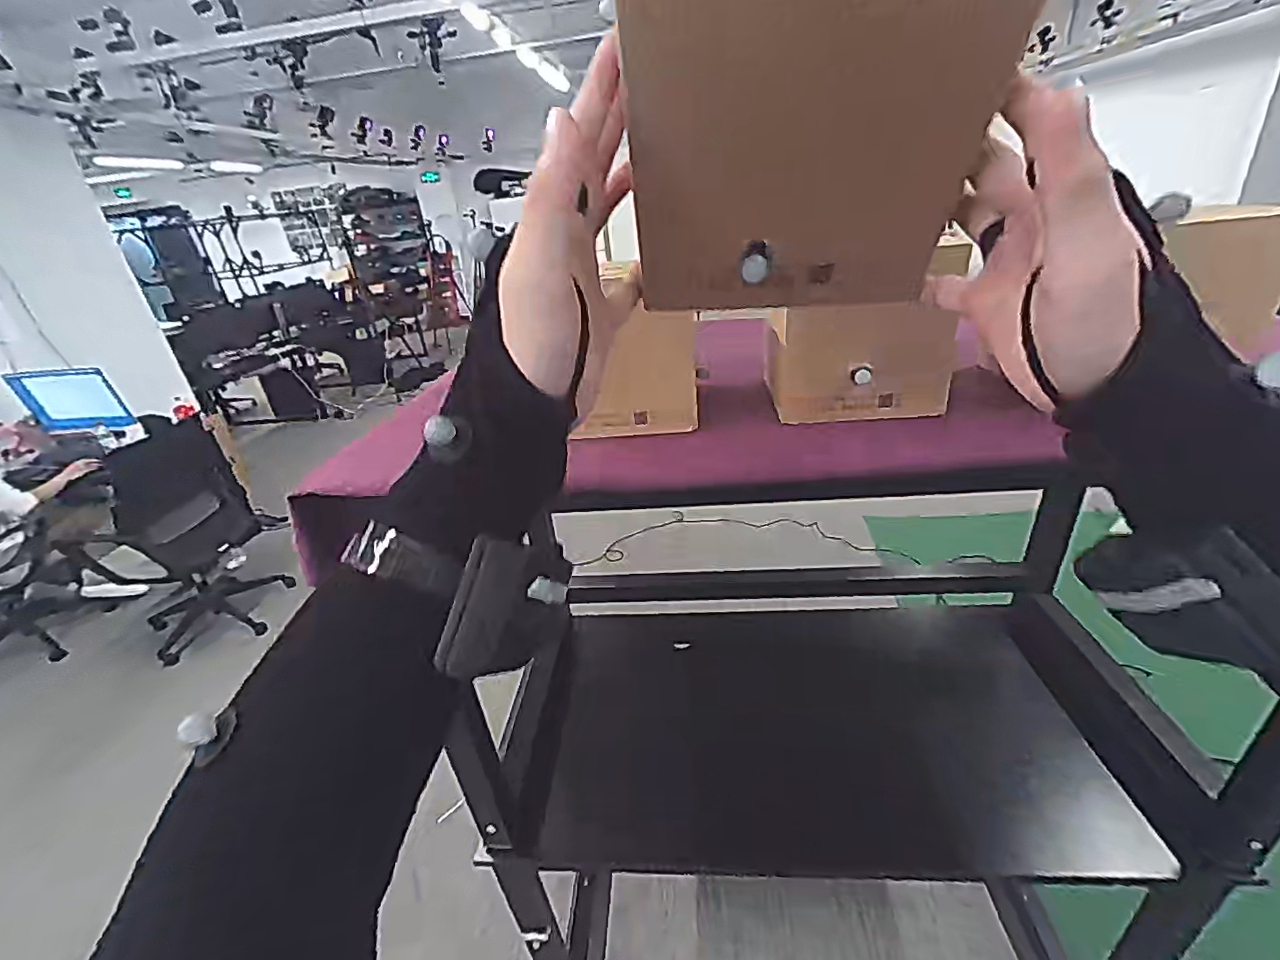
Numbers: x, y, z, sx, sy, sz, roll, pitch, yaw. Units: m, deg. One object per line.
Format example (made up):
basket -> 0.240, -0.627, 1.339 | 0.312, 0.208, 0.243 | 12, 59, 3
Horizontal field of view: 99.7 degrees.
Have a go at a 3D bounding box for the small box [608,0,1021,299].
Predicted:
small box -> 0.075, -0.228, 0.308 | 0.168, 0.176, 0.179 | -1, 59, 6

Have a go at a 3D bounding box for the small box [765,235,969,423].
small box -> 0.230, -0.172, 0.601 | 0.168, 0.176, 0.179 | -3, 27, 8

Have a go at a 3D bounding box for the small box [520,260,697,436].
small box -> -0.023, -0.159, 0.628 | 0.168, 0.176, 0.179 | -4, 25, 8
